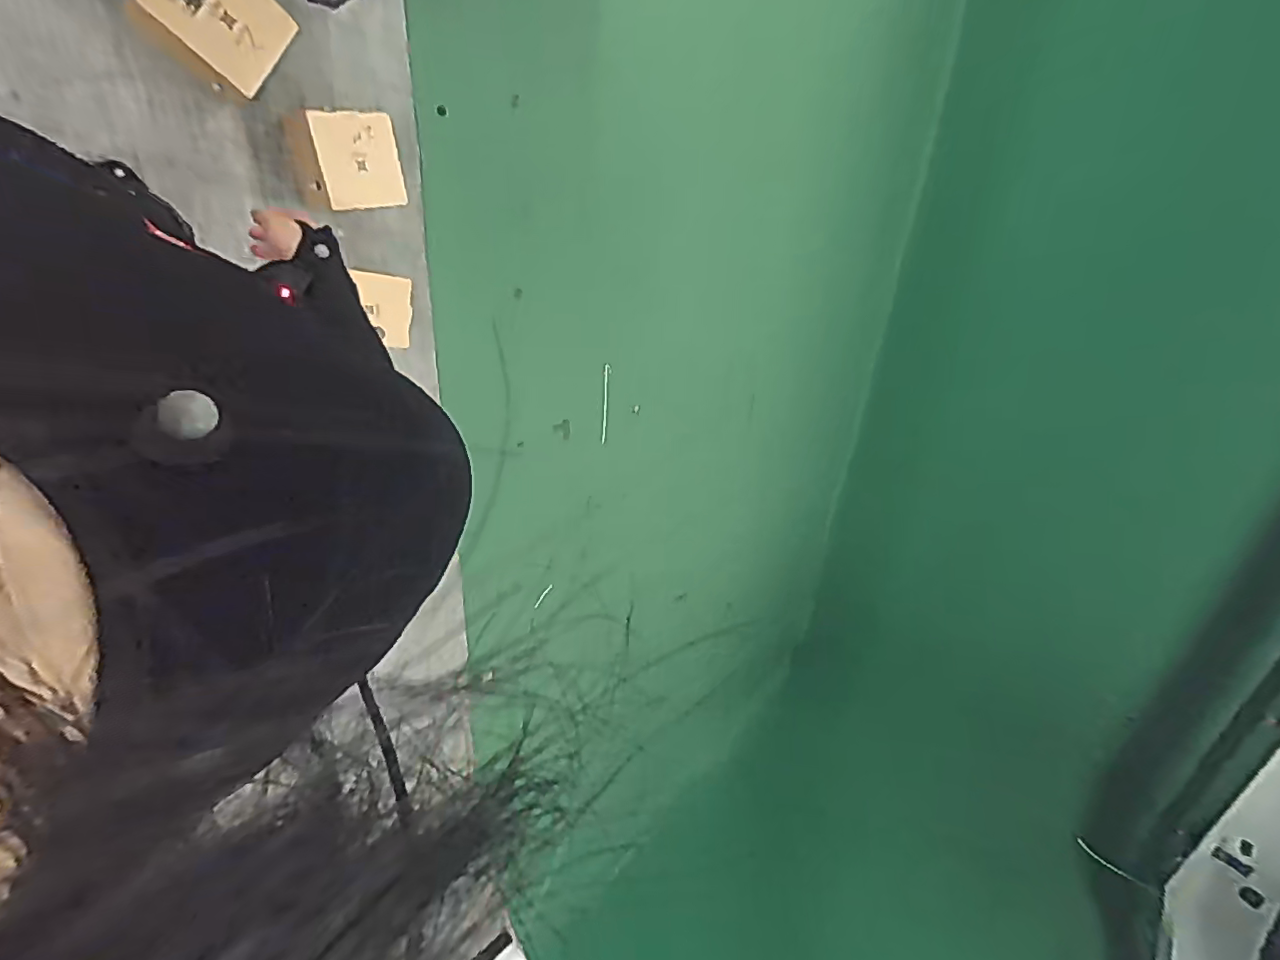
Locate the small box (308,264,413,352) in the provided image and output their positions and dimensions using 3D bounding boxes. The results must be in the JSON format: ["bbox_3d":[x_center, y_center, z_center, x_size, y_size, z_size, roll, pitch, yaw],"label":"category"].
[{"bbox_3d":[-0.666,-0.410,1.287,0.179,0.176,0.168,-8,117,-46],"label":"small box"}]

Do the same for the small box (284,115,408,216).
[{"bbox_3d":[-0.635,-0.681,1.171,0.168,0.176,0.179,-28,130,-37],"label":"small box"}]
